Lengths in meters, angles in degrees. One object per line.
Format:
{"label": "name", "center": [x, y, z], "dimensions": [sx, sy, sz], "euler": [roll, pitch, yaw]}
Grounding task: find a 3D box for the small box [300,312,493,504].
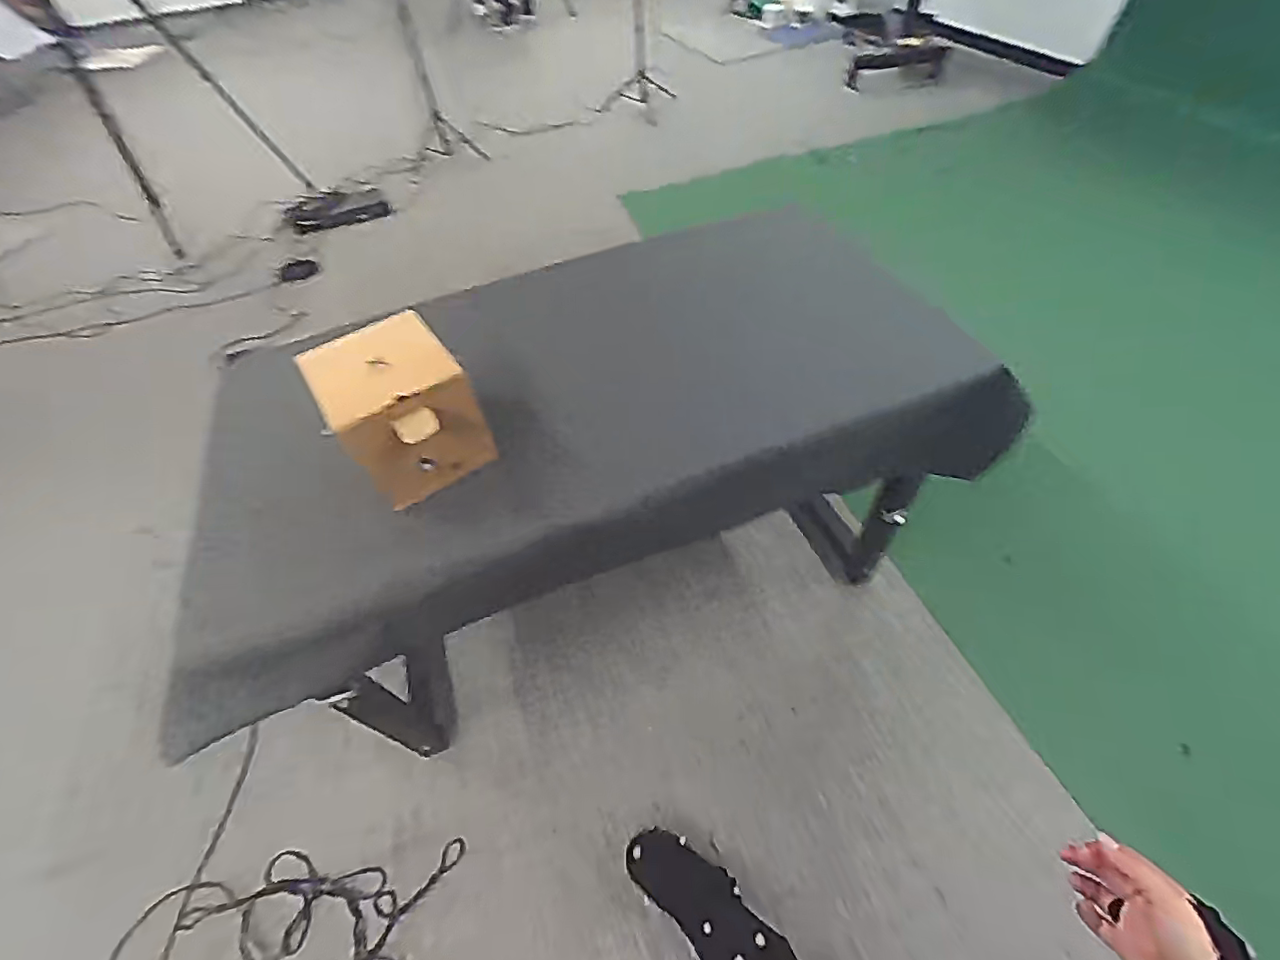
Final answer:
{"label": "small box", "center": [-0.332, -0.099, 0.759], "dimensions": [0.168, 0.176, 0.179], "euler": [-32, 56, -19]}
